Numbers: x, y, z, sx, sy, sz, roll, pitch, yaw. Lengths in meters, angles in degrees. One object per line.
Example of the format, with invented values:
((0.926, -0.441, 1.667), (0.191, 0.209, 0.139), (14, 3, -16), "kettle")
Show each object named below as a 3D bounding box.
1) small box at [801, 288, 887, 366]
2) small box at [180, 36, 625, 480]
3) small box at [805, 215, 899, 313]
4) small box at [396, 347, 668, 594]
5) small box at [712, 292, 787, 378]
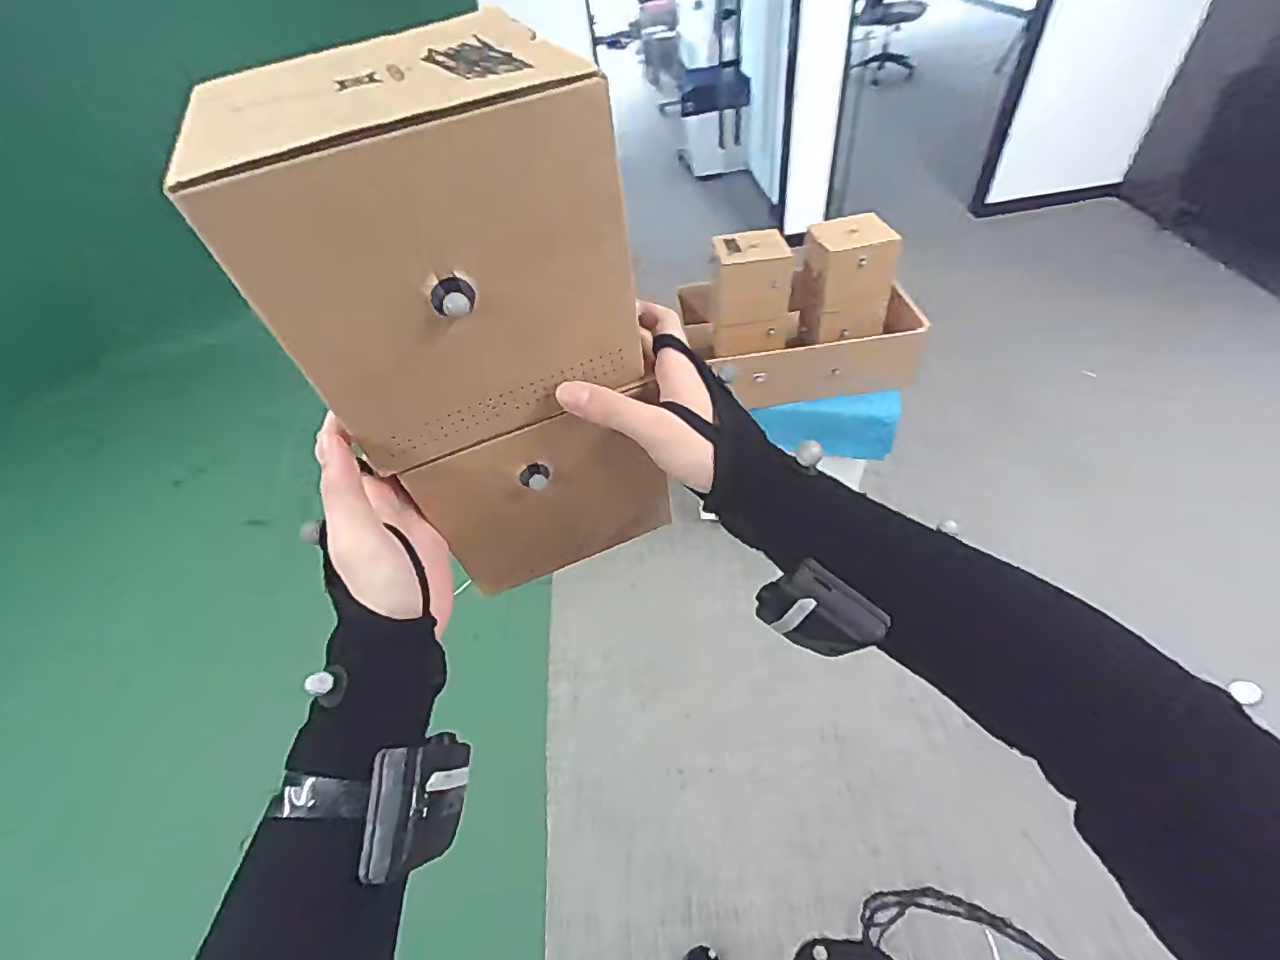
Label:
((0.558, -0.438, 1.504), (0.179, 0.176, 0.168), (-12, 46, 2), "small box")
((-0.118, -0.132, 0.330), (0.179, 0.176, 0.168), (-24, 51, -9), "small box")
((0.532, -0.550, 1.387), (0.179, 0.176, 0.168), (-11, 46, 0), "small box")
((-0.089, -0.031, 0.456), (0.179, 0.176, 0.168), (-21, 51, -9), "small box")
((0.303, -0.405, 1.524), (0.179, 0.176, 0.168), (-7, 46, 1), "small box")
